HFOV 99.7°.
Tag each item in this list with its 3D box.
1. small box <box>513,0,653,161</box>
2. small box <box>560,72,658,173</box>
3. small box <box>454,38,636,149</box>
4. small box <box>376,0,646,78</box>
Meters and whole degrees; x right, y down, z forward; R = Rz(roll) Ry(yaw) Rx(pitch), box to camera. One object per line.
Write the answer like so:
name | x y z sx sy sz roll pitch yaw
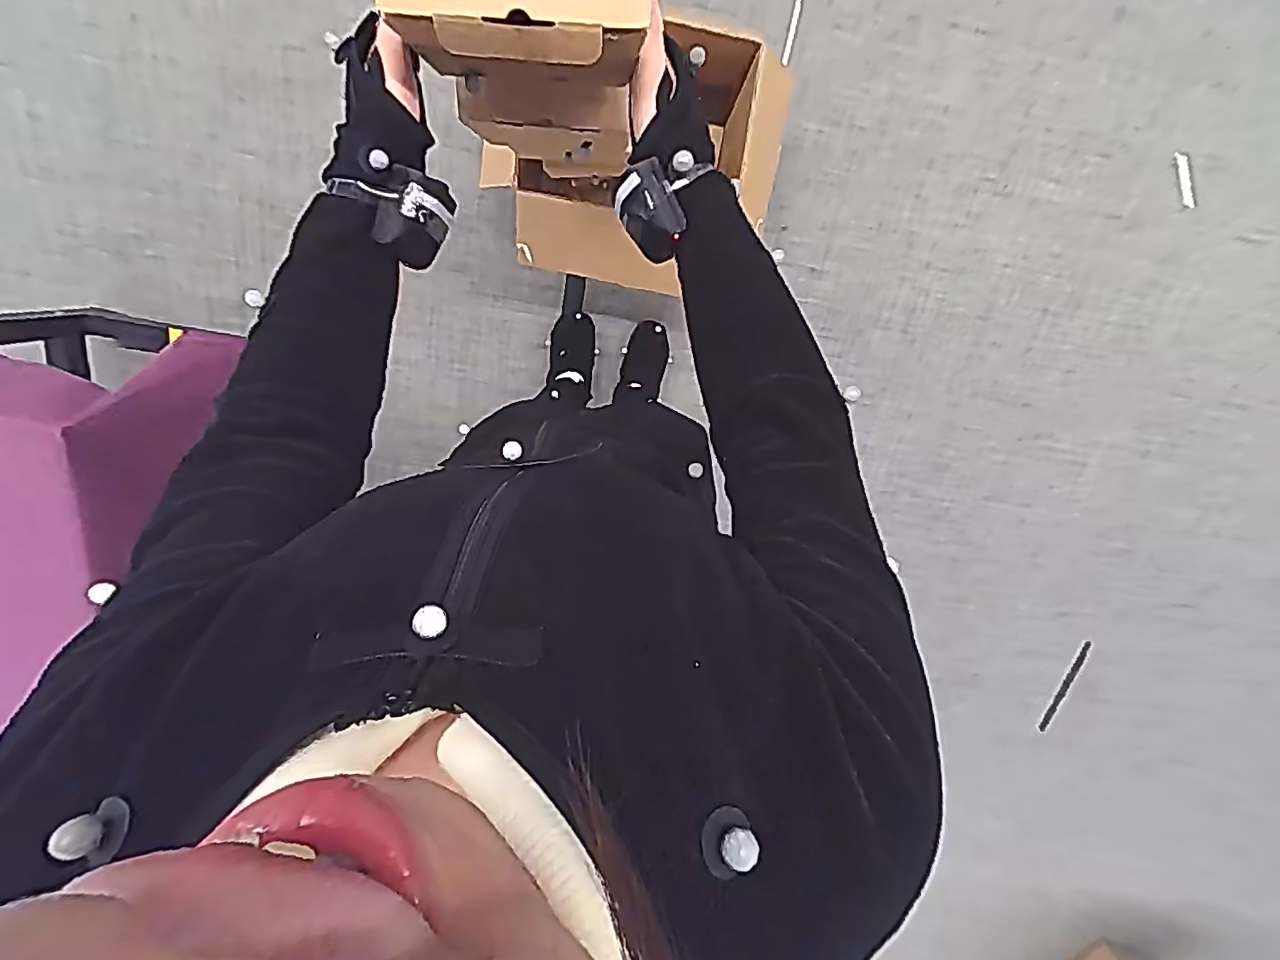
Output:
small box | -0.081 -0.516 0.694 0.179 0.176 0.168 1 116 -5
small box | -0.071 -0.672 0.985 0.179 0.176 0.168 -12 115 0
small box | -0.088 -0.448 0.545 0.168 0.176 0.179 2 115 -6
small box | -0.080 -0.393 0.362 0.168 0.176 0.179 -1 116 -7
